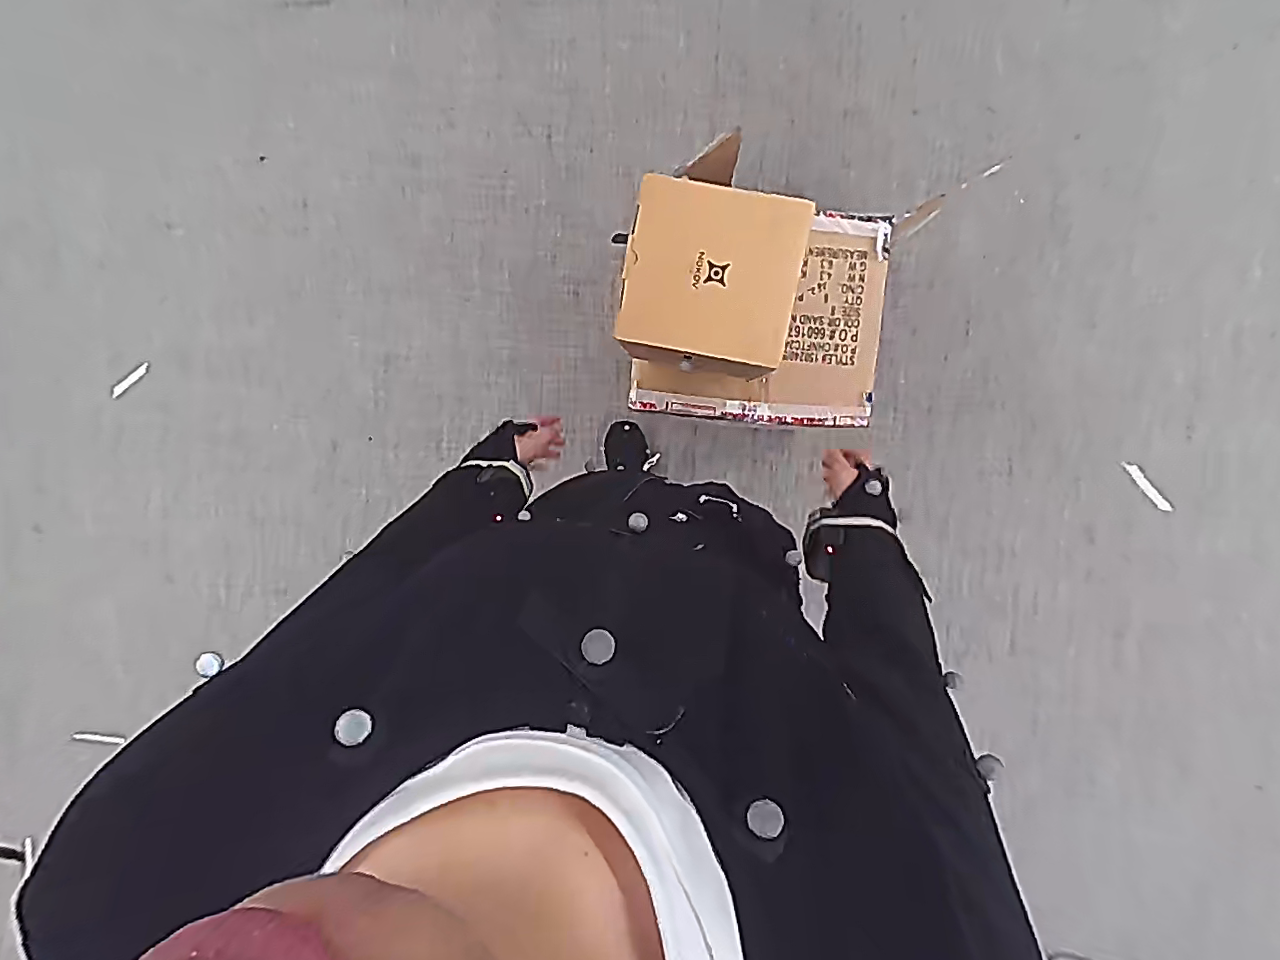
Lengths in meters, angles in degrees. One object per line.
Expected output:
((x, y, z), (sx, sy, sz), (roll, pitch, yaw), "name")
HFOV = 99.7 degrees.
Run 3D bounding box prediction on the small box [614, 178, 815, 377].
((0.080, -0.216, 0.625), (0.179, 0.176, 0.168), (11, 97, 4), "small box")
